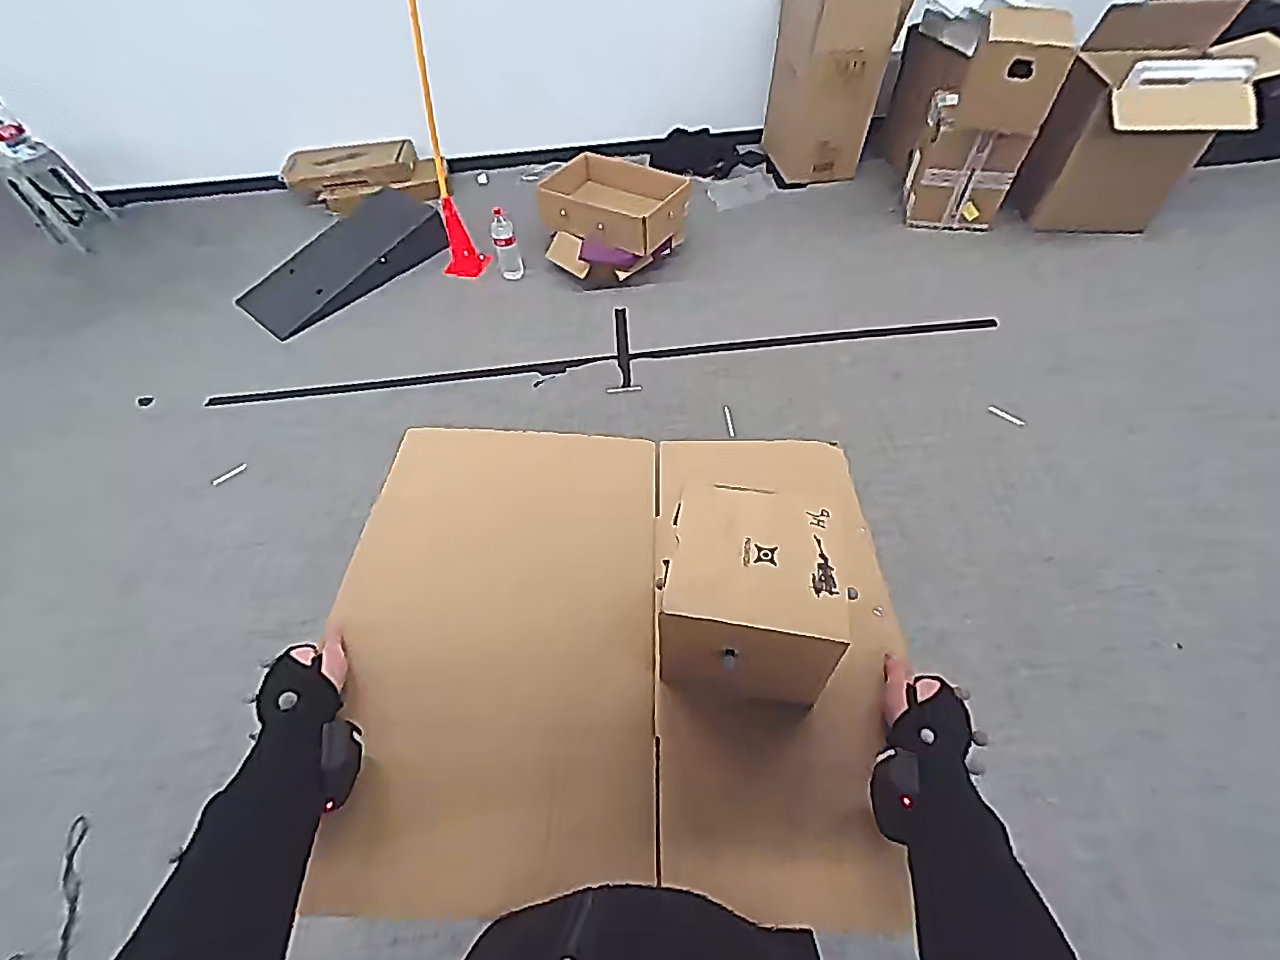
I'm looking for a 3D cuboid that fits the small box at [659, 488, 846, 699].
[{"bbox_3d":[0.123,0.131,0.614,0.179,0.176,0.168,6,50,9],"label":"small box"}]
